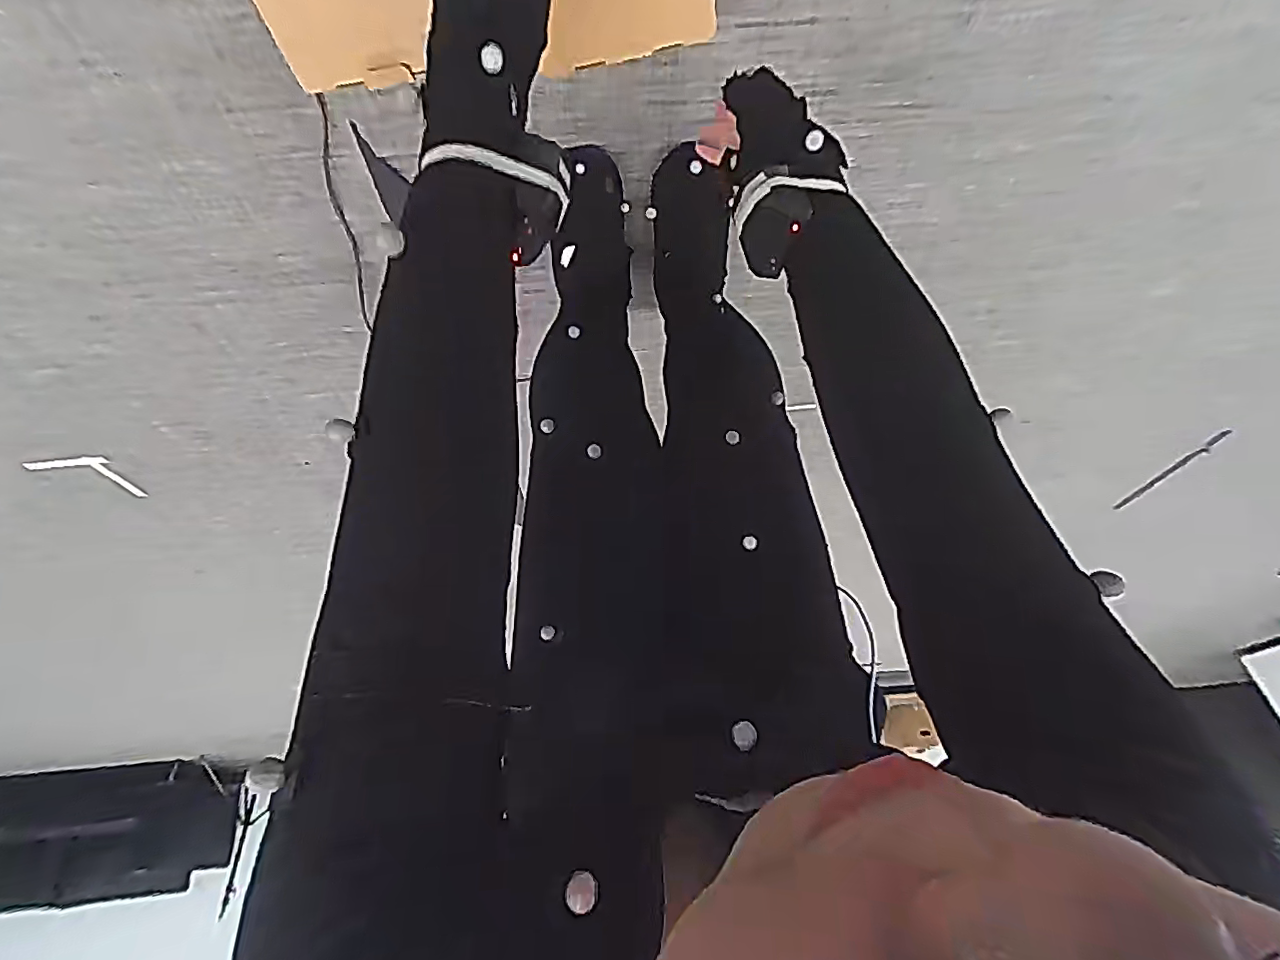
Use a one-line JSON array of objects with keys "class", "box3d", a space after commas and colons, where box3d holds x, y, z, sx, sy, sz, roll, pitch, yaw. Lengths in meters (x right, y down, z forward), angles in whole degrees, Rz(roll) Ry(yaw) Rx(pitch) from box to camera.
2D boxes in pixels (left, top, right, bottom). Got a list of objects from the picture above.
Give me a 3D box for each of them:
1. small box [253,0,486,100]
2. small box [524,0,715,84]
[{"class": "small box", "box3d": [-0.247, -0.480, 0.480, 0.168, 0.176, 0.179, -7, 145, 2]}, {"class": "small box", "box3d": [-0.031, -0.500, 0.479, 0.168, 0.176, 0.179, -9, 147, 6]}]
